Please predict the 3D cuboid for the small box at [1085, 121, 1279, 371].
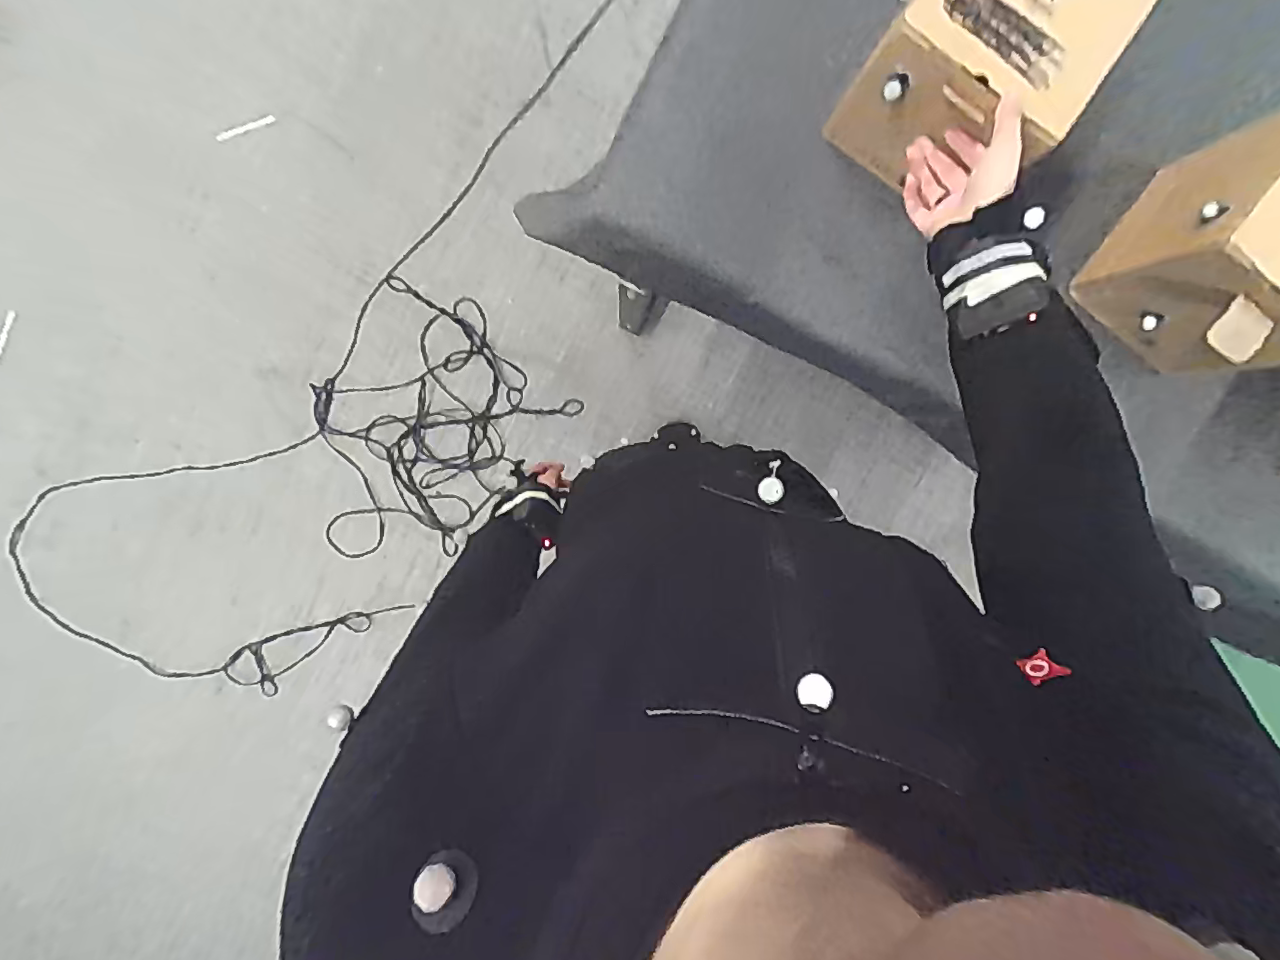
[{"bbox_3d":[0.608,-0.229,0.533,0.168,0.176,0.179,36,93,-6],"label":"small box"}]
